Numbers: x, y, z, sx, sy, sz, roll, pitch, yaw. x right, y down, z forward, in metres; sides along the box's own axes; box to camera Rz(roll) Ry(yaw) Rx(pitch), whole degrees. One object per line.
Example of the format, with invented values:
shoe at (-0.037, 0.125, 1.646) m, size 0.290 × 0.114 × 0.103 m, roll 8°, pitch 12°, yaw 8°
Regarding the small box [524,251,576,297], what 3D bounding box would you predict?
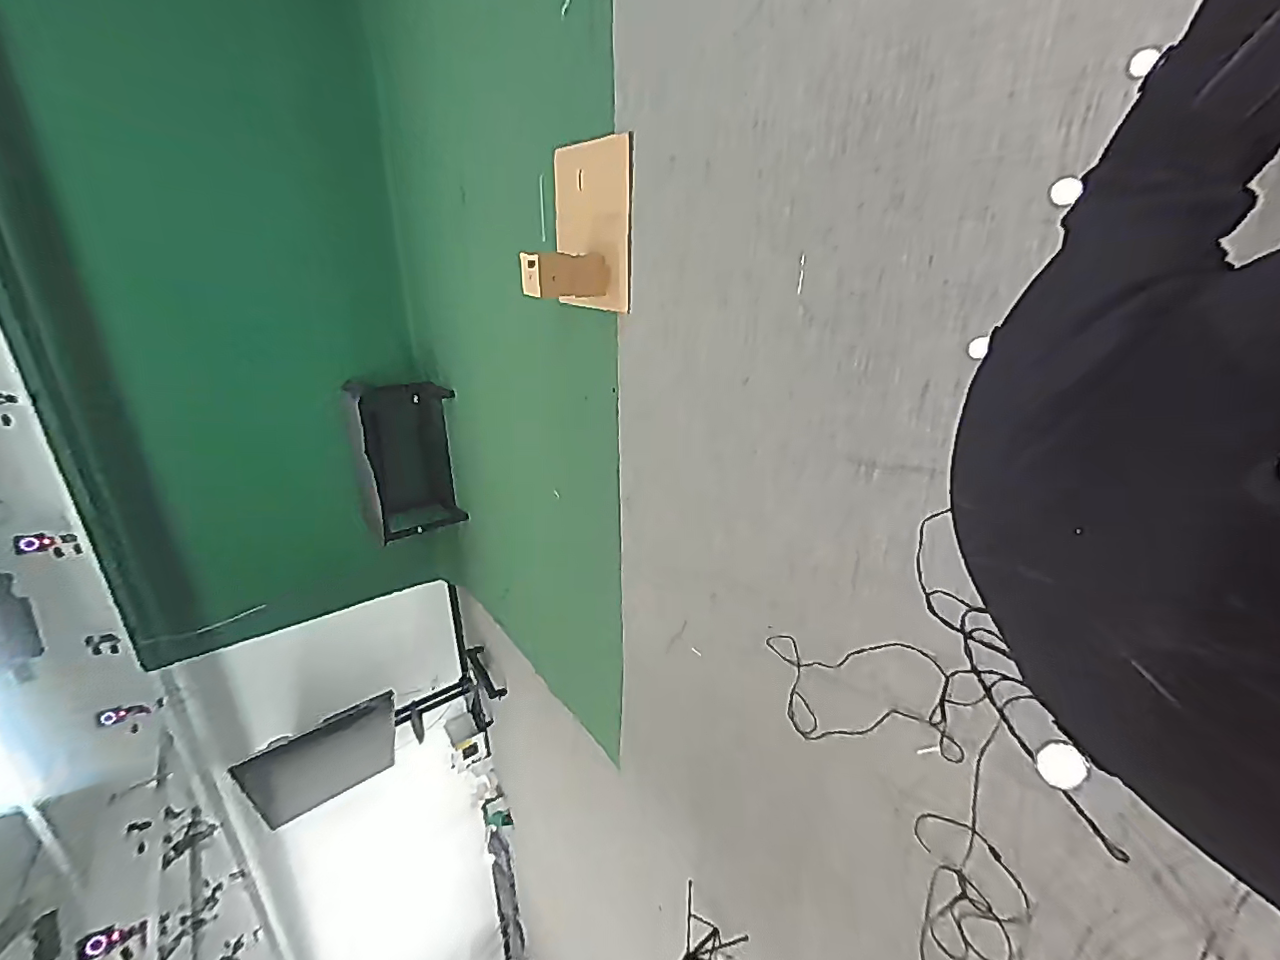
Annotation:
small box at (-0.396, -0.917, 2.397) m, size 0.168 × 0.176 × 0.179 m, roll 31°, pitch 129°, yaw 45°
